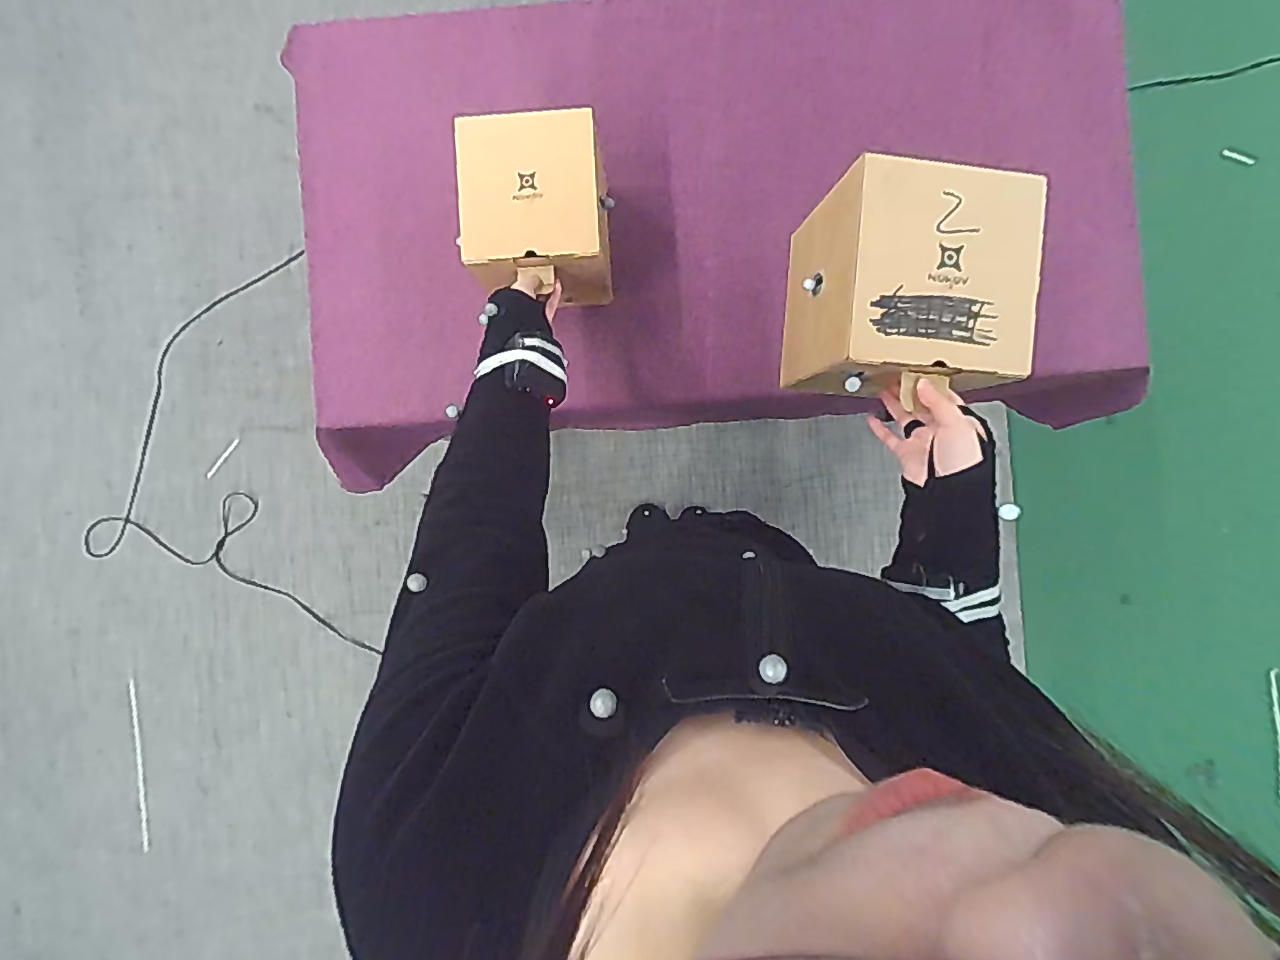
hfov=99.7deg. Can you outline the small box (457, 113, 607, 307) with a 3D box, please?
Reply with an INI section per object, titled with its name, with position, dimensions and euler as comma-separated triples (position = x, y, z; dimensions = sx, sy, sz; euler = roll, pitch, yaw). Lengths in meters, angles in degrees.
[small box]
position = -0.135, -0.349, 0.728
dimensions = 0.168, 0.176, 0.179
euler = -3, 90, 1
